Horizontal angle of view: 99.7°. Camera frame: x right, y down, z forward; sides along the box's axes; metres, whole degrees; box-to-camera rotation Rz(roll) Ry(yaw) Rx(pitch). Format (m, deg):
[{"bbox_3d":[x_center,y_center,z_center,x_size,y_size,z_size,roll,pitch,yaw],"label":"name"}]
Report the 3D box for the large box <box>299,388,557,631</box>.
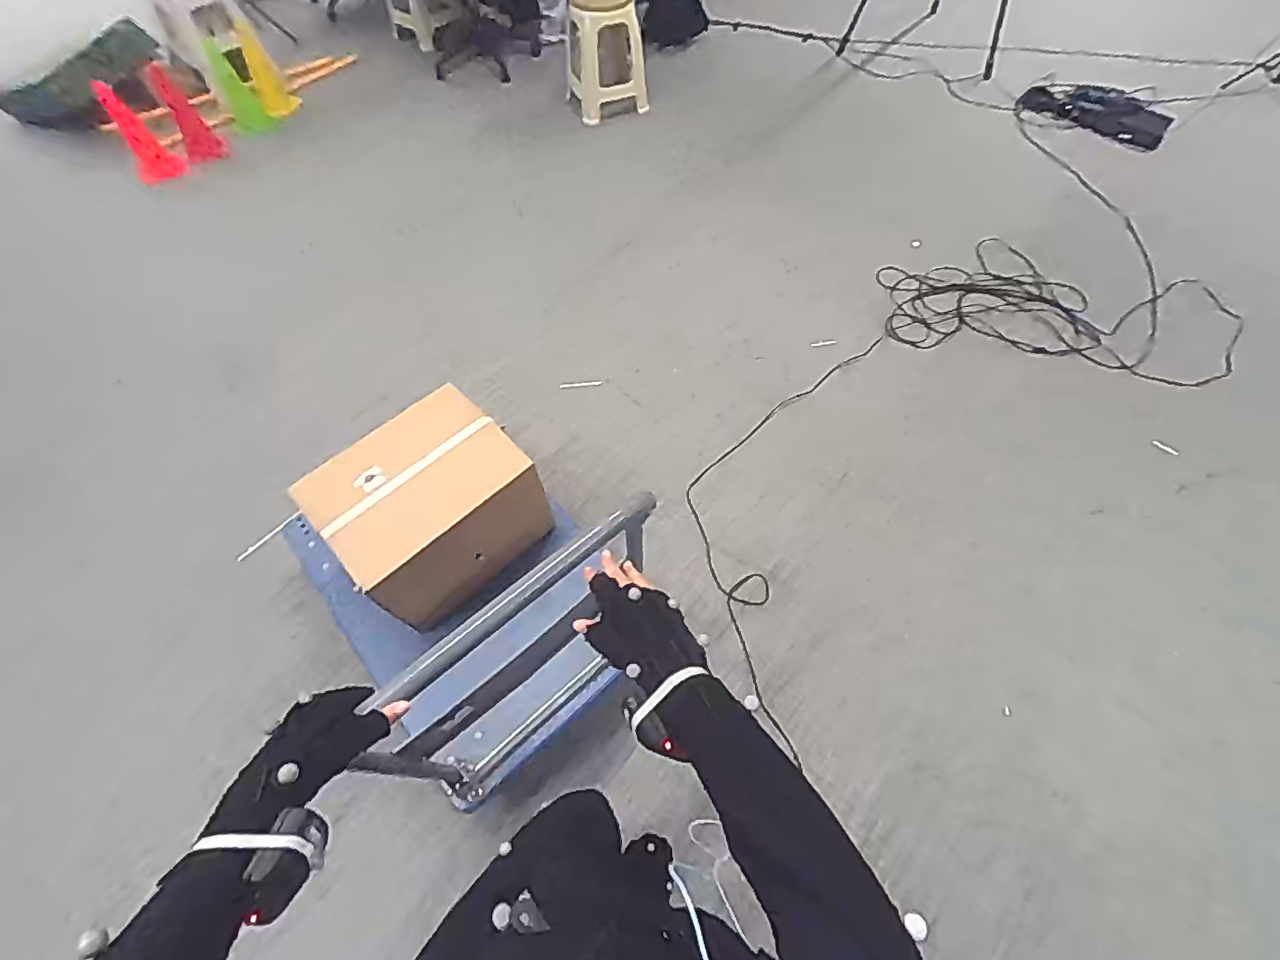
[{"bbox_3d":[-0.457,0.073,1.258,0.408,0.320,0.320,-41,66,-19],"label":"large box"}]
